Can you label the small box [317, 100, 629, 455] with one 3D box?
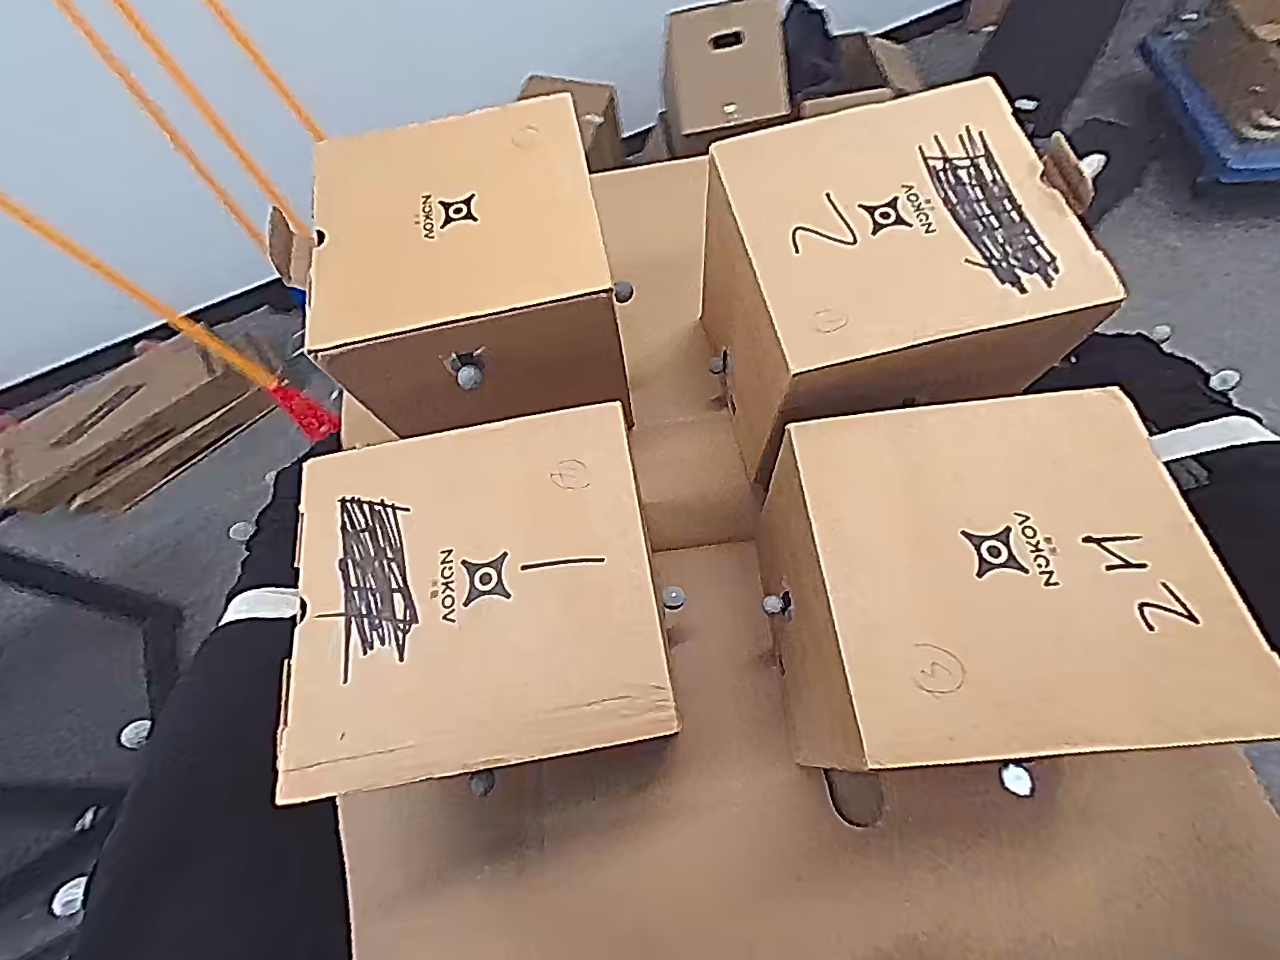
[{"bbox_3d":[-0.106,-0.135,0.409,0.179,0.176,0.168,-11,69,1],"label":"small box"}]
